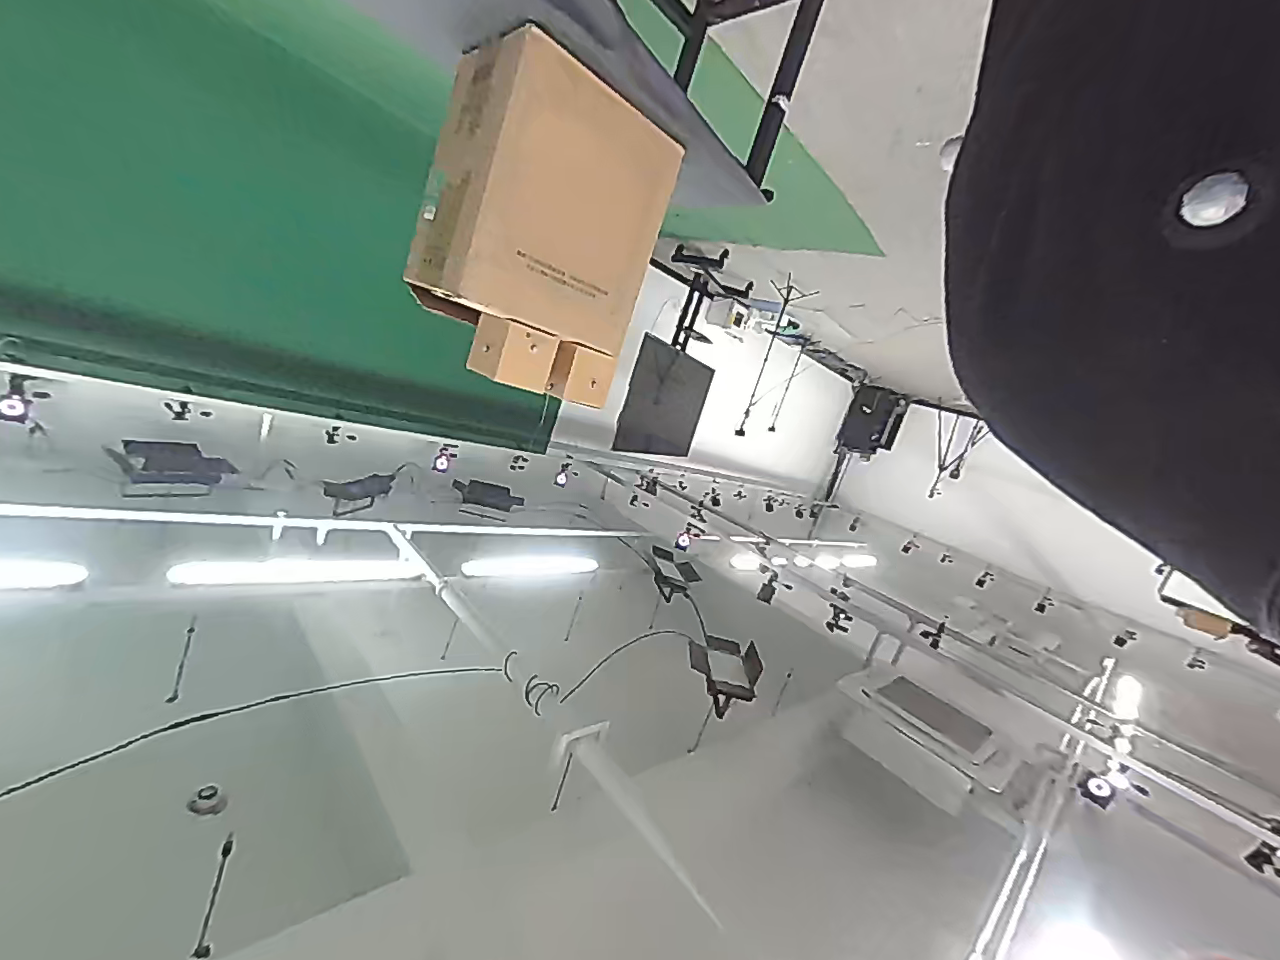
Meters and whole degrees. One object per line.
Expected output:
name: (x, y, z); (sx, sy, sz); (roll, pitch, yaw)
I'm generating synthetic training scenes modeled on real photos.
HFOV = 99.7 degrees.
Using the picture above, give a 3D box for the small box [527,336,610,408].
small box: (-0.219, -0.336, 1.688); (0.168, 0.176, 0.179); (22, -169, 37)
